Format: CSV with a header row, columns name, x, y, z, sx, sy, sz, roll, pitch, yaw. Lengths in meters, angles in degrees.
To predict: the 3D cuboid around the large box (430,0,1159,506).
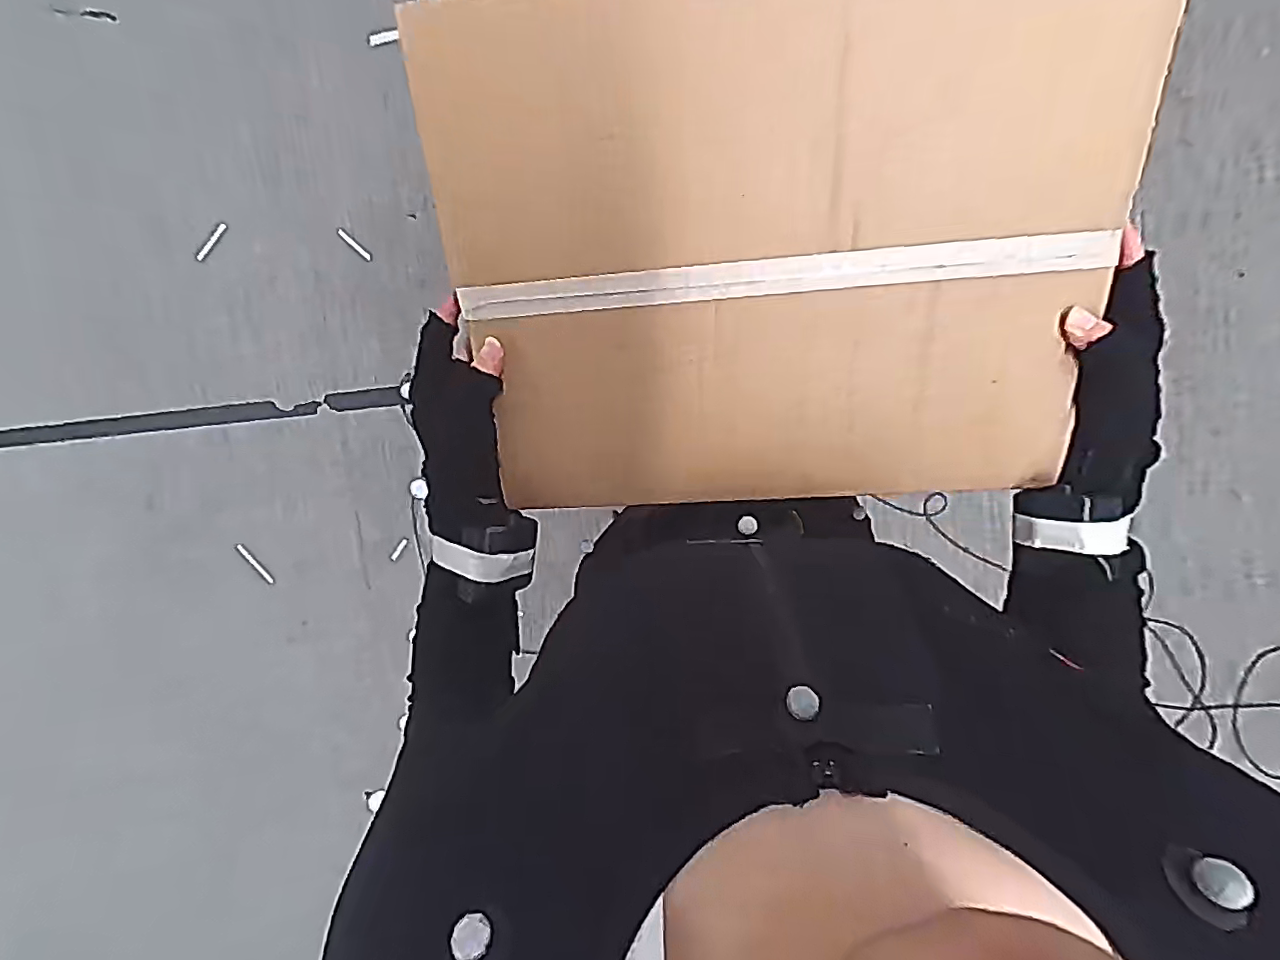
name,x,y,z,sx,sy,sz,roll,pitch,yaw
large box,0.094,-0.191,0.489,0.408,0.320,0.320,-3,116,5
